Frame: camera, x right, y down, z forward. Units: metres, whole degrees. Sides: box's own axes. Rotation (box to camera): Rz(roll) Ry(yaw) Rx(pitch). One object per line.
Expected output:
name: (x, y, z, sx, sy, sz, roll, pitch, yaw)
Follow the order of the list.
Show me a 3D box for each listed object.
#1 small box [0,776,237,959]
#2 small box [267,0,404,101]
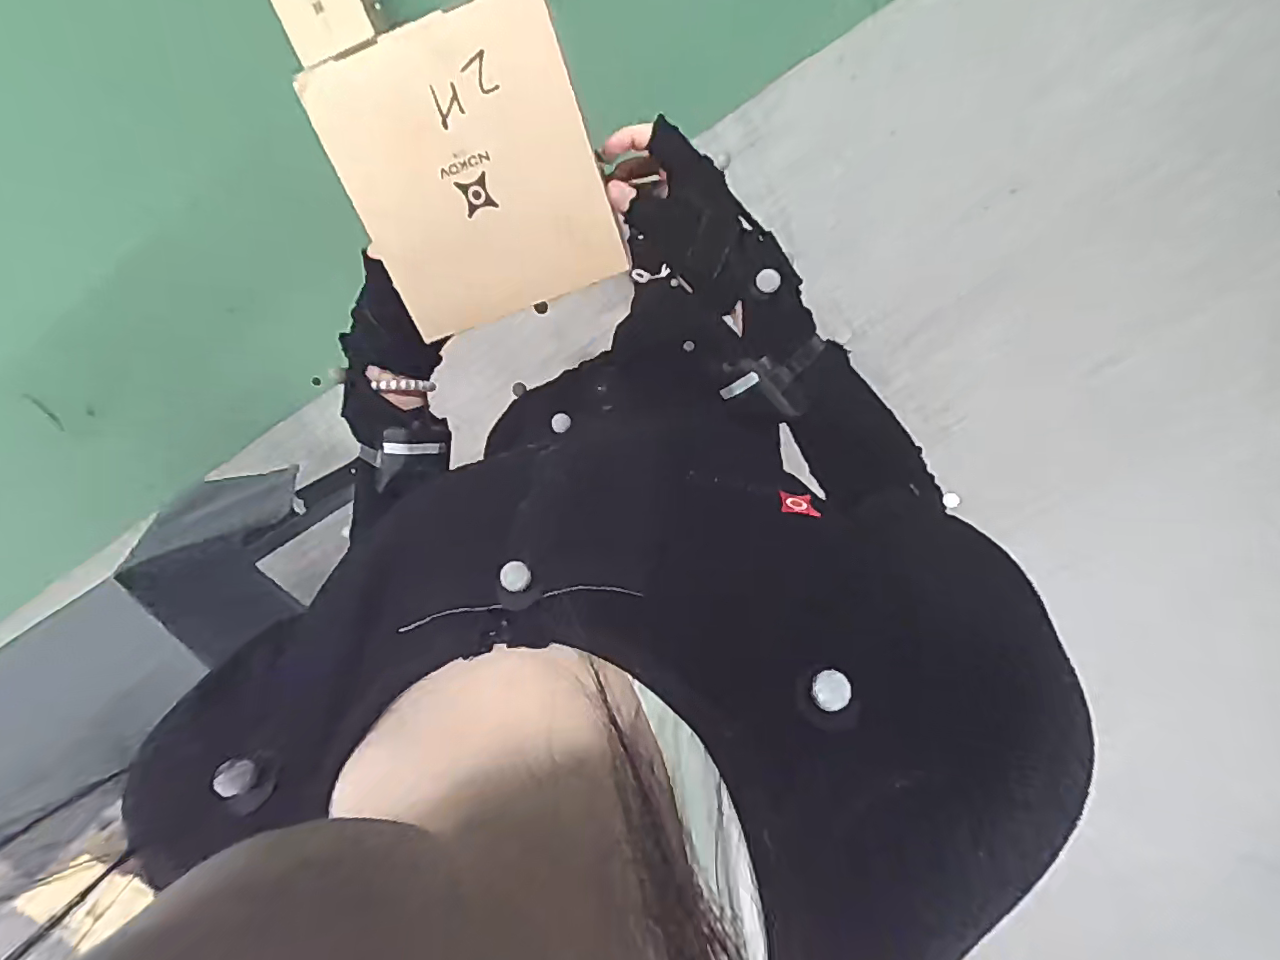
small box: (-0.762, 0.591, 0.814, 0.179, 0.176, 0.168, -33, 105, 8)
small box: (-0.626, -0.933, 1.116, 0.168, 0.176, 0.179, -19, 107, 6)
